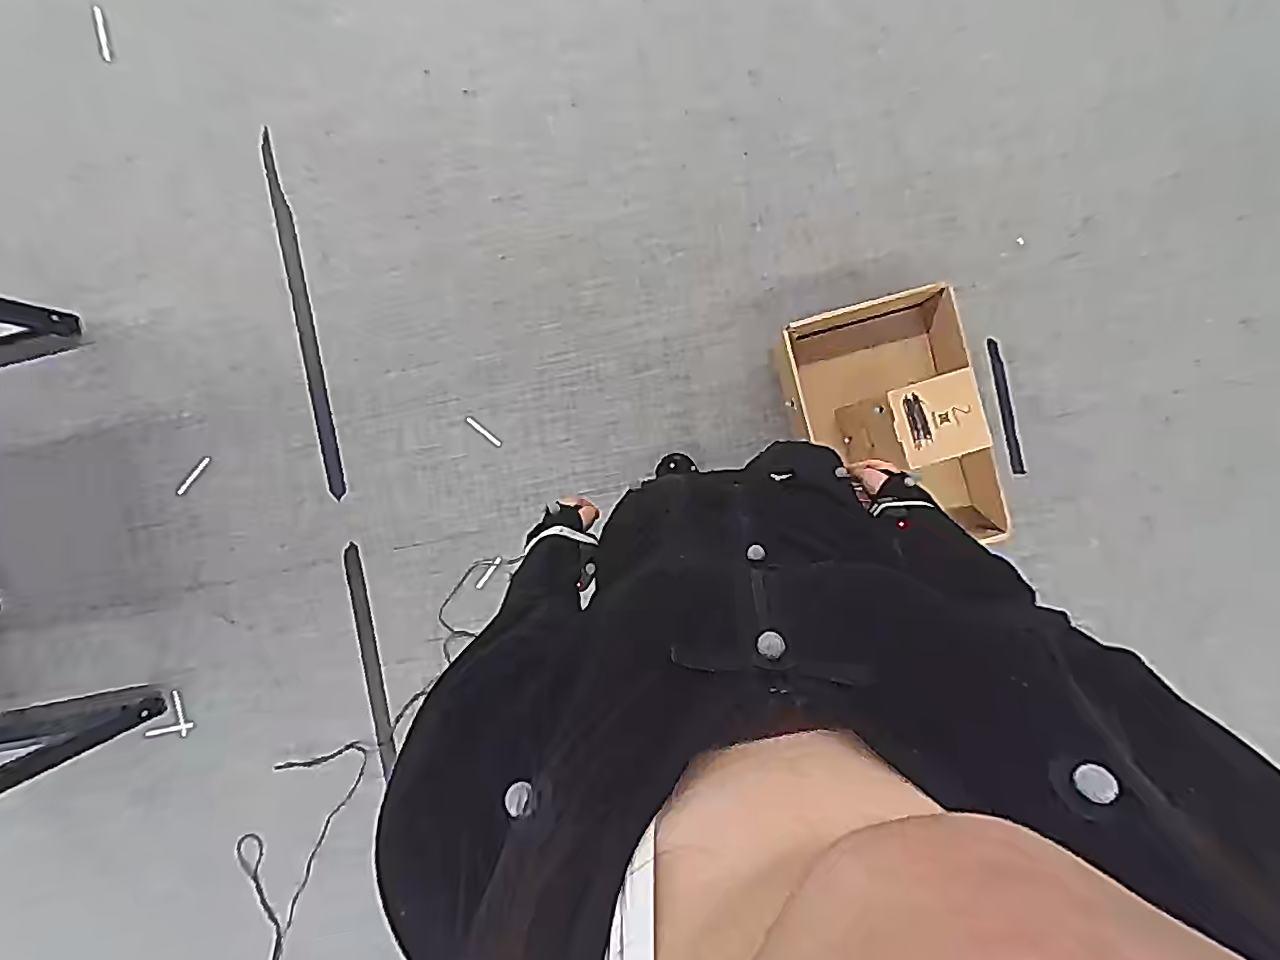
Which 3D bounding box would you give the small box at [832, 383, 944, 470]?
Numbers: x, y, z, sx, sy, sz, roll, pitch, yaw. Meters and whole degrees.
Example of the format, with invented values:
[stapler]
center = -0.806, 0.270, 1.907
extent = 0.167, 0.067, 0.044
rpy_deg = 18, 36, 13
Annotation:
[small box]
center = 0.598, -0.128, 1.324
extent = 0.179, 0.176, 0.168
rpy_deg = -17, 91, 3
